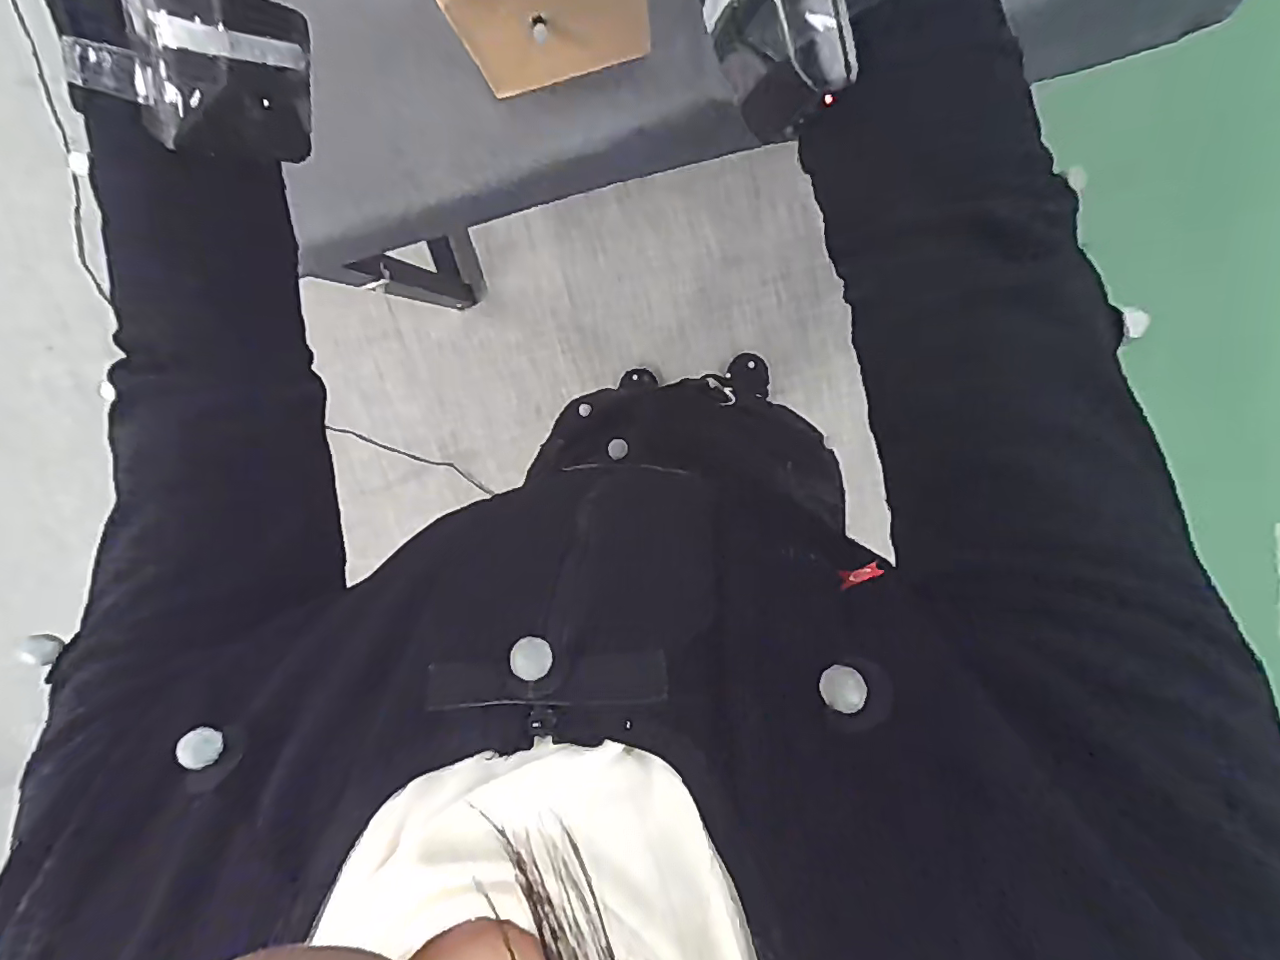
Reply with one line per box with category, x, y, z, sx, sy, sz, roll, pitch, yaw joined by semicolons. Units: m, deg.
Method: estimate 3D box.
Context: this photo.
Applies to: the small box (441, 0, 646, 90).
small box;-0.098;-0.505;0.500;0.179;0.176;0.168;-12;100;6
